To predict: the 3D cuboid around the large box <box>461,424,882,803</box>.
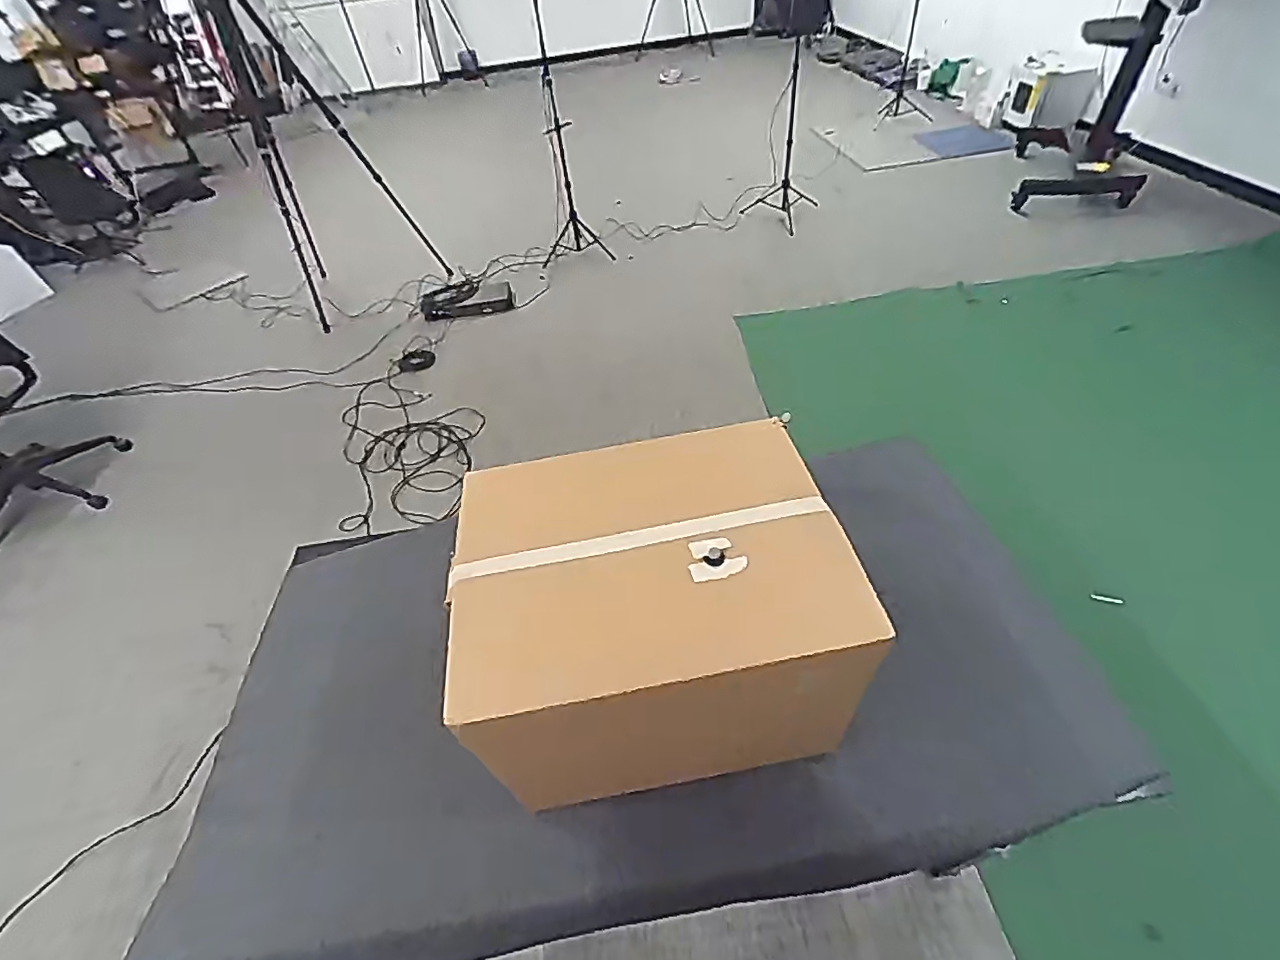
[{"bbox_3d":[0.020,0.172,0.698,0.408,0.320,0.320,-10,47,-3],"label":"large box"}]
